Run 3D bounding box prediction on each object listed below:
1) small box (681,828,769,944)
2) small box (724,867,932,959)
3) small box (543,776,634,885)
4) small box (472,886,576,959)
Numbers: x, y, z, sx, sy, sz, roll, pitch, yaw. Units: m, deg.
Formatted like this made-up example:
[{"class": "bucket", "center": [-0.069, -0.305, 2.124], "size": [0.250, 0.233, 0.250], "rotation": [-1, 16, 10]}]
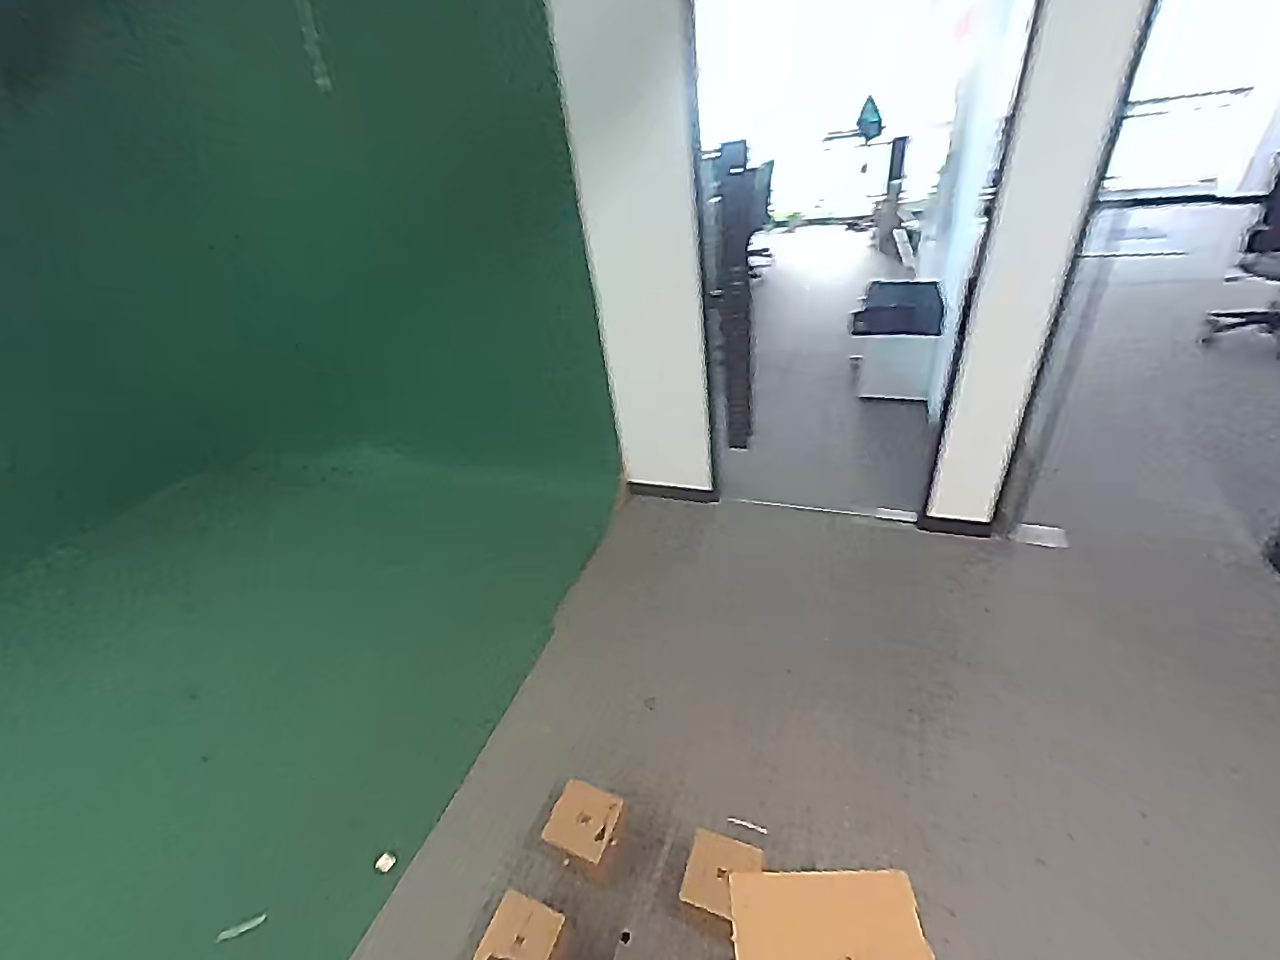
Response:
[{"class": "small box", "center": [0.212, 1.004, 1.326], "size": [0.179, 0.176, 0.168], "rotation": [7, 36, 22]}, {"class": "small box", "center": [0.178, 0.495, 0.516], "size": [0.179, 0.176, 0.168], "rotation": [-5, 39, 5]}, {"class": "small box", "center": [-0.134, 0.955, 1.470], "size": [0.179, 0.176, 0.168], "rotation": [9, 37, 25]}, {"class": "small box", "center": [-0.266, 1.111, 1.264], "size": [0.168, 0.176, 0.179], "rotation": [9, 36, 23]}]
